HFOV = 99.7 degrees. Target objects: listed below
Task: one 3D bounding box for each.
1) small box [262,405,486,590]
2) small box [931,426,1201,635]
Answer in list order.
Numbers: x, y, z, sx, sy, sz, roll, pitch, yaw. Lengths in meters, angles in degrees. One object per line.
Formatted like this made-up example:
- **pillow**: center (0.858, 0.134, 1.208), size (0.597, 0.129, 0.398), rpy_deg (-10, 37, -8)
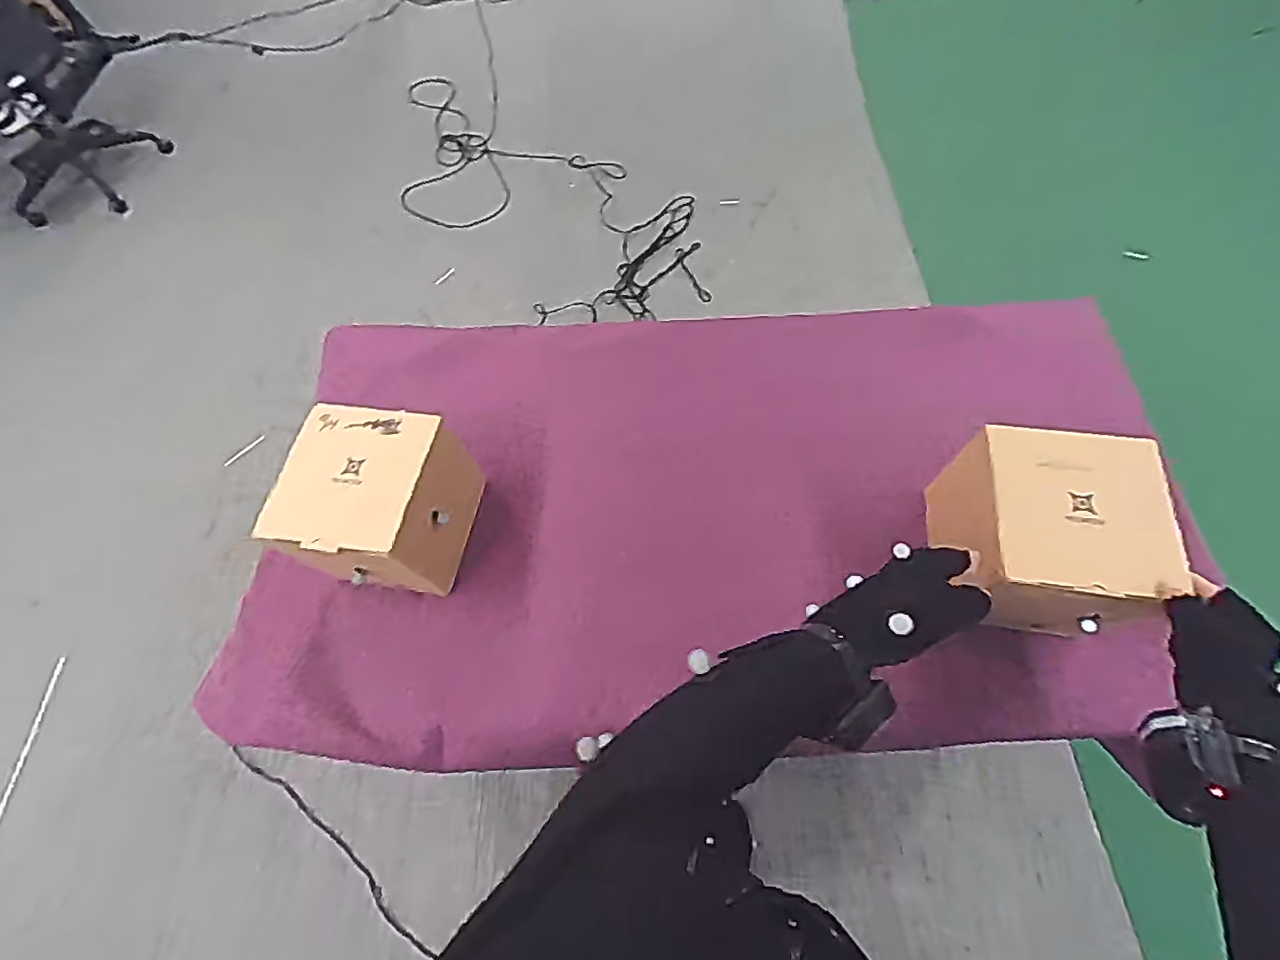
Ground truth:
- **small box**: center (-0.313, 0.030, 0.683), size (0.168, 0.176, 0.179), rpy_deg (7, 65, 8)
- **small box**: center (0.443, 0.064, 0.601), size (0.168, 0.176, 0.179), rpy_deg (7, 65, 8)
